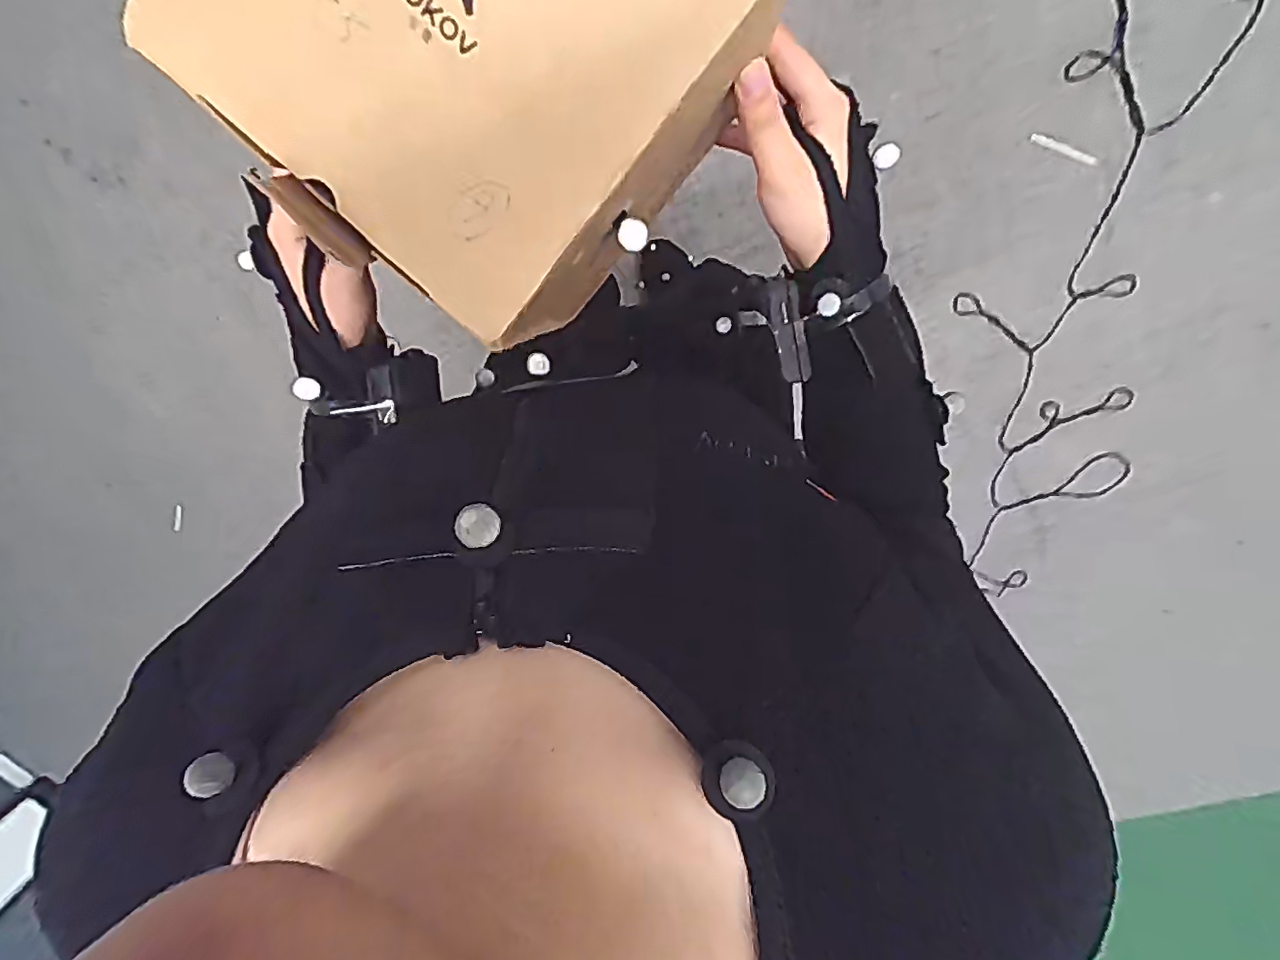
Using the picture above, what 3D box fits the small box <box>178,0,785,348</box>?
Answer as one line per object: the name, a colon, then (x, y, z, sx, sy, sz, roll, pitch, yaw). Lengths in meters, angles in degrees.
small box: (-0.054, -0.192, 0.268, 0.168, 0.176, 0.179, 40, 108, -11)
